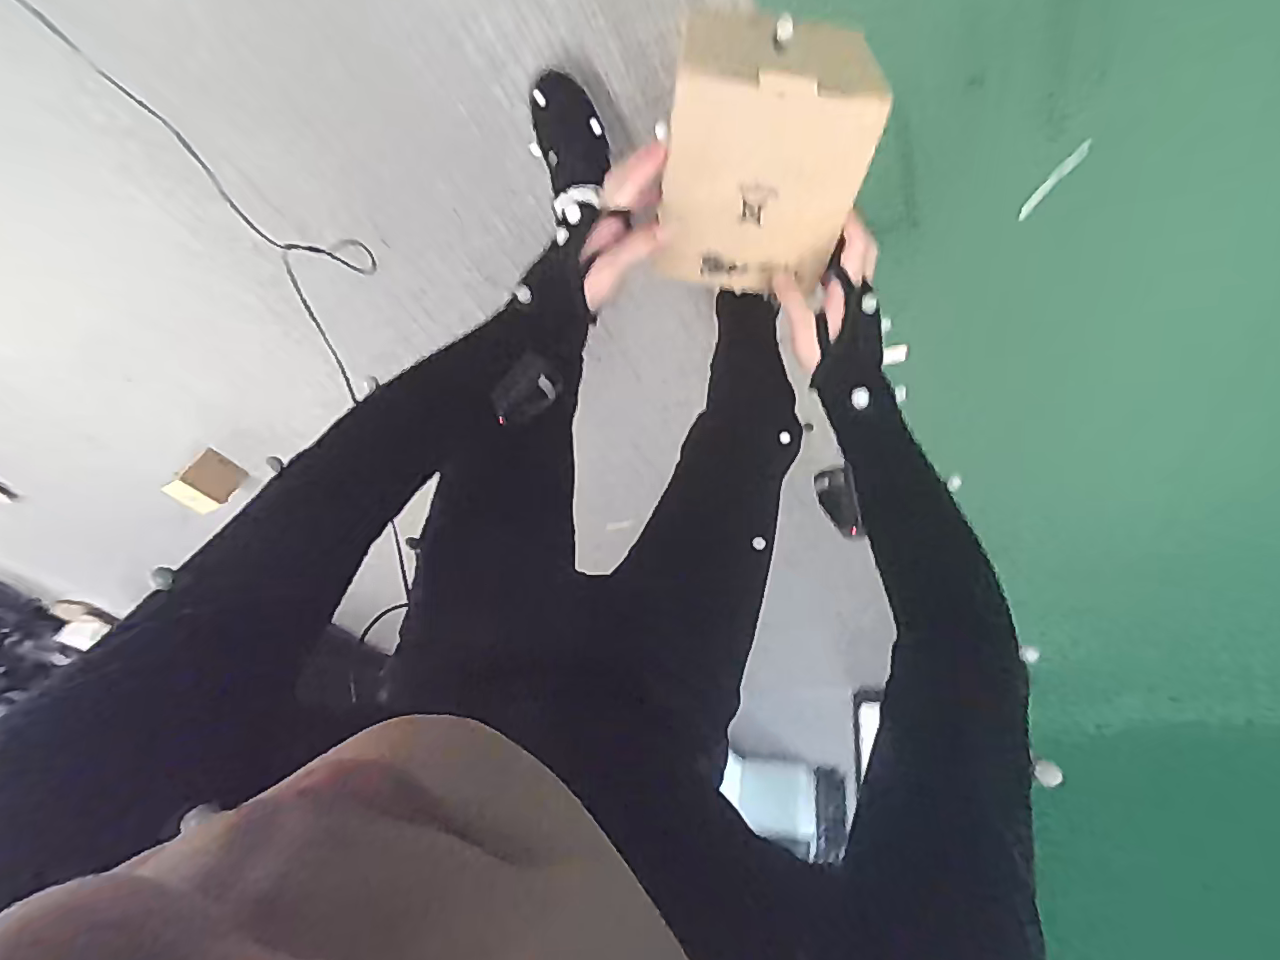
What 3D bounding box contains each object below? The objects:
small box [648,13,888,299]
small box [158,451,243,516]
[{"bbox_3d":[0.103,-0.305,0.513,0.168,0.176,0.179,7,145,-2],"label":"small box"},{"bbox_3d":[-1.679,0.012,2.077,0.179,0.176,0.168,-14,133,32],"label":"small box"}]
